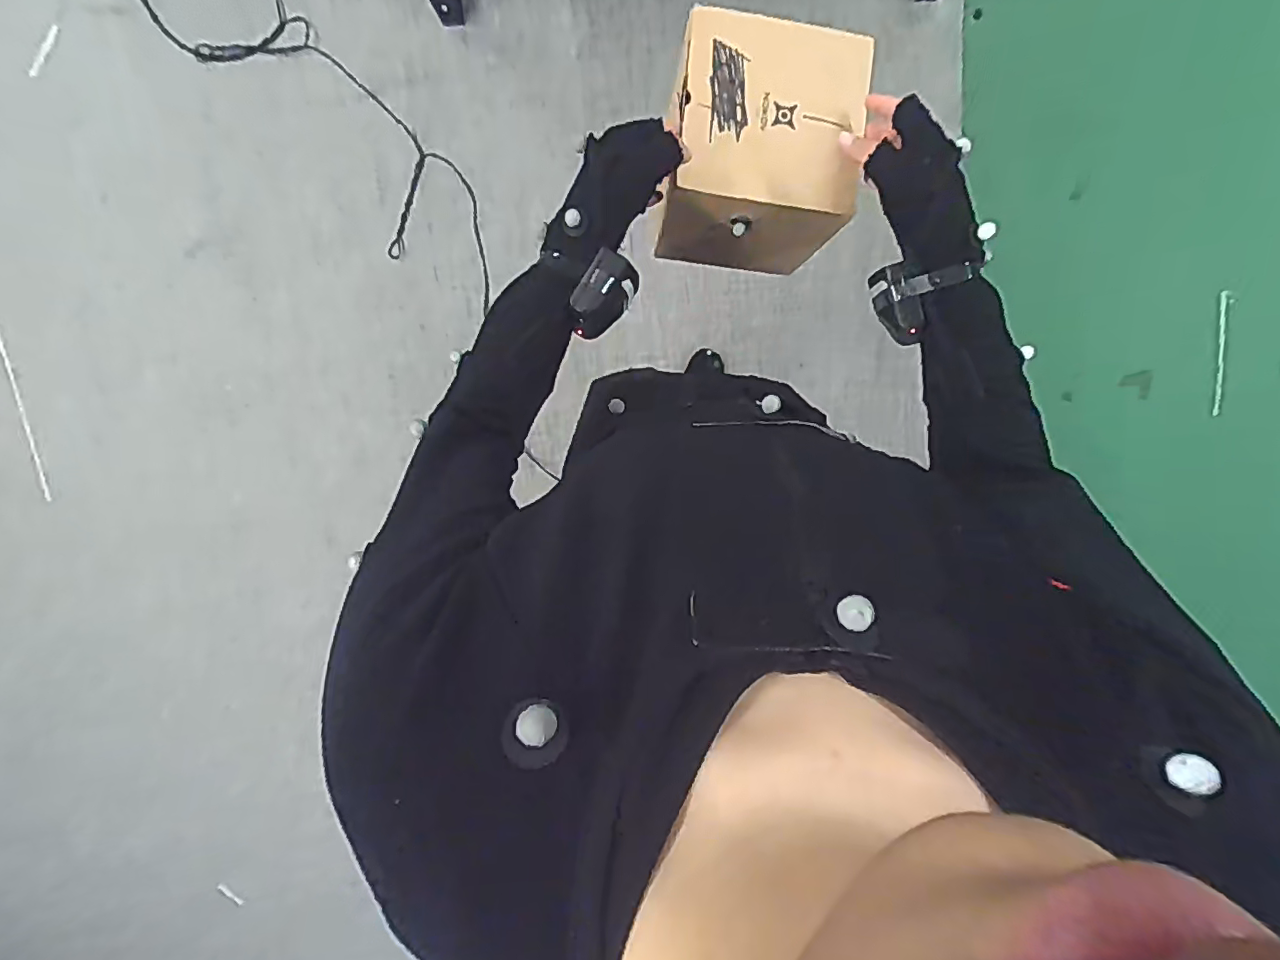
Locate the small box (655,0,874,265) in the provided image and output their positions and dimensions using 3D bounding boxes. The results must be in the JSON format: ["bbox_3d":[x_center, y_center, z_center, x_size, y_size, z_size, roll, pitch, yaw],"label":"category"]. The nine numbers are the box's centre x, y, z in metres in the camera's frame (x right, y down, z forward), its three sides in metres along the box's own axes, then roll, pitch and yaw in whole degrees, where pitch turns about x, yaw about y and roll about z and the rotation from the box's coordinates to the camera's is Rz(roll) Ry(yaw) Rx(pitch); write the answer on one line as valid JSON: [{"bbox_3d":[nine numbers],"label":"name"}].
[{"bbox_3d":[0.115,-0.344,0.571,0.179,0.176,0.168,6,92,-6],"label":"small box"}]
